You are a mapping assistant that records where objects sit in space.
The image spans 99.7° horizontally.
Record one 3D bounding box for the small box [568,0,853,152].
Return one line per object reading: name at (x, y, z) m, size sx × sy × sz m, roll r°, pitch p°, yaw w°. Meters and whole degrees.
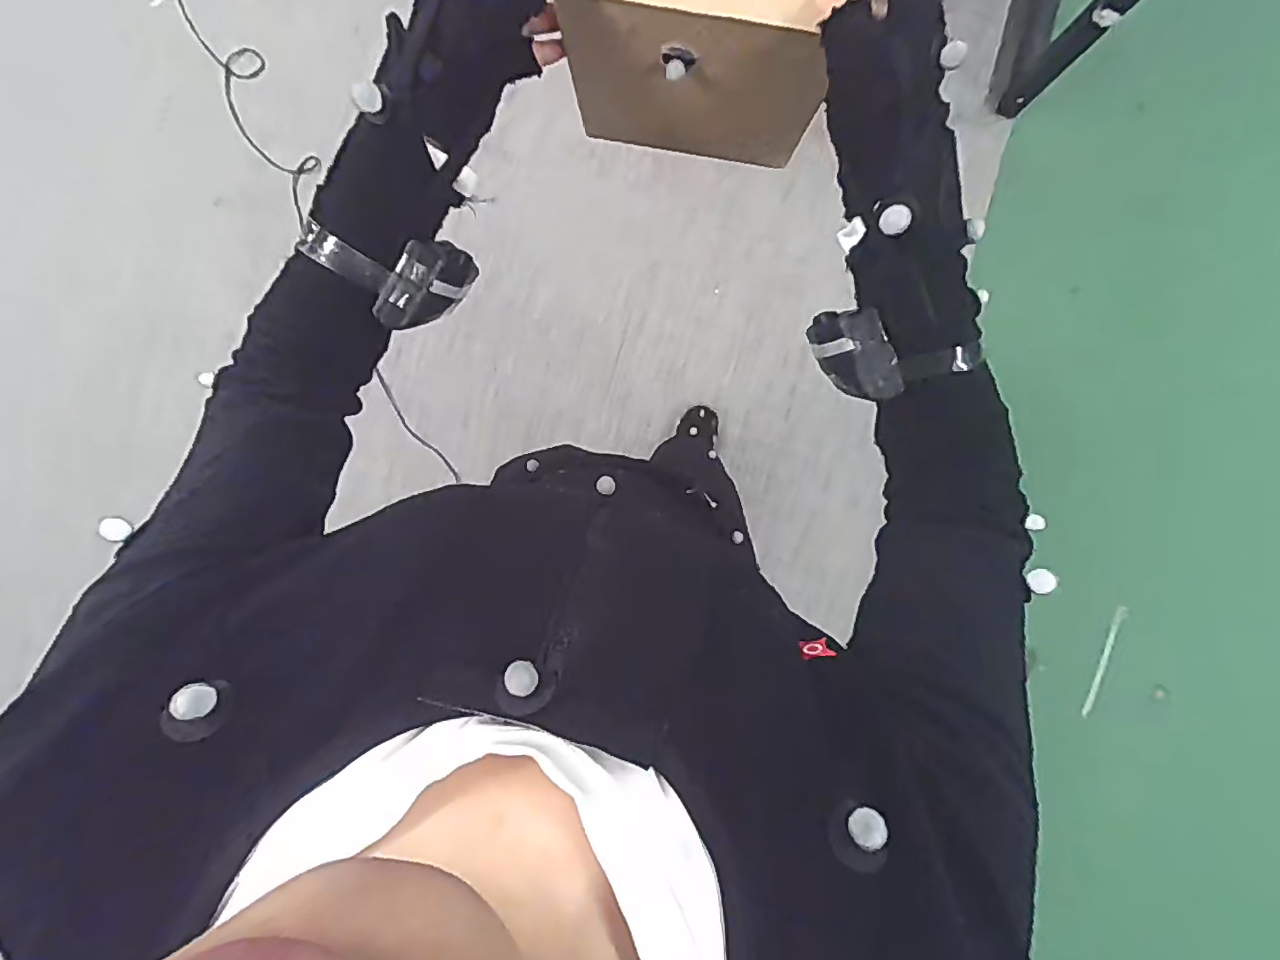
small box at (0.049, -0.358, 0.373) m, size 0.179 × 0.176 × 0.168 m, roll 10°, pitch 98°, yaw 0°
